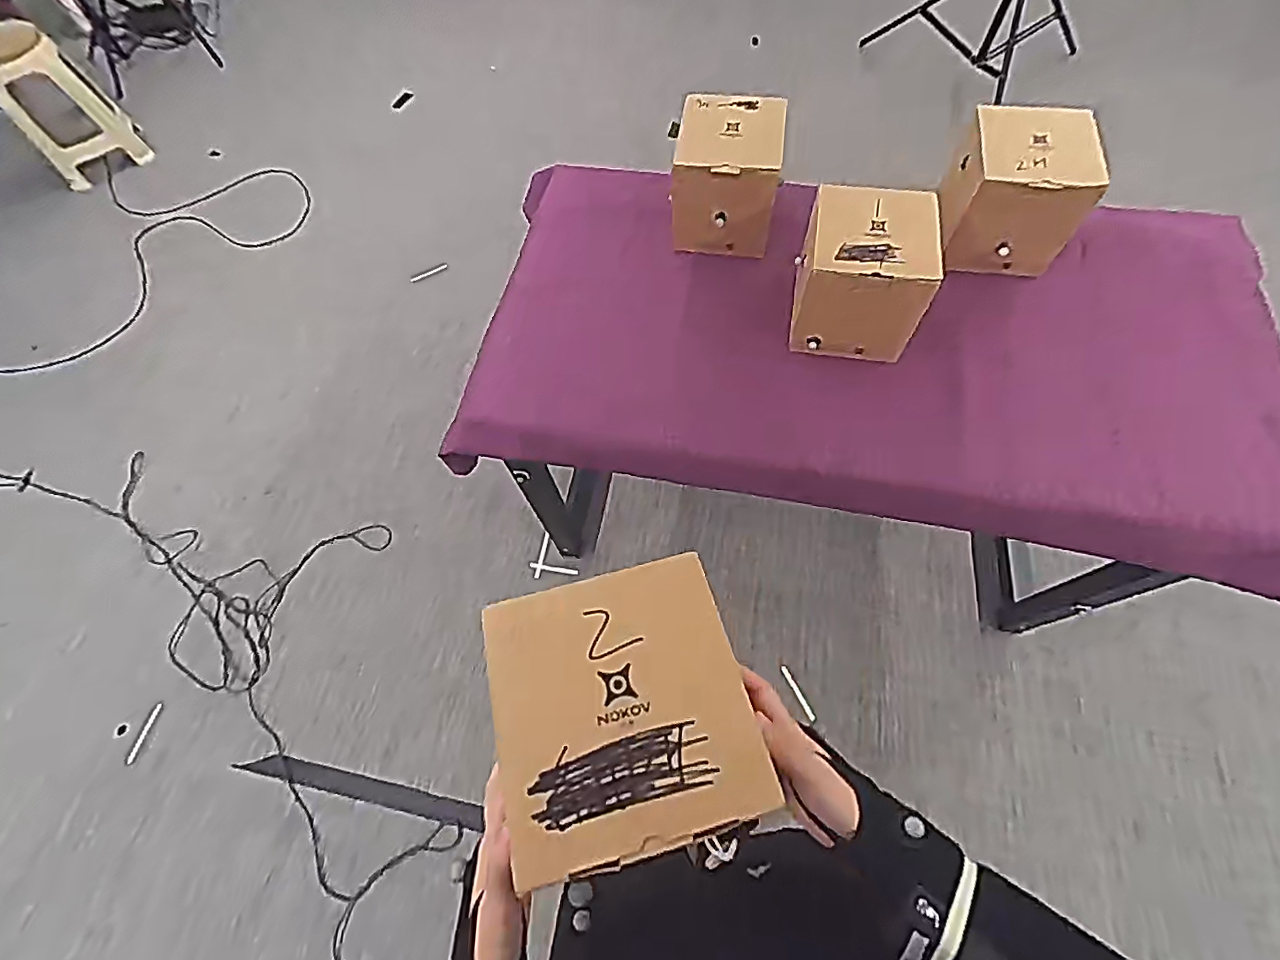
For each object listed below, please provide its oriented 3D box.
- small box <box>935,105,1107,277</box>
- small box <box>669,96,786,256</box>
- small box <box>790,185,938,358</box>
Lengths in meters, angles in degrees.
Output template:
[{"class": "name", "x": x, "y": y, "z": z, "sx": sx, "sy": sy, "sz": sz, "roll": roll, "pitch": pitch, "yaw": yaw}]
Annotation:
[{"class": "small box", "x": 0.588, "y": -0.458, "z": 0.865, "sx": 0.168, "sy": 0.176, "sz": 0.179, "roll": 8, "pitch": 66, "yaw": 8}, {"class": "small box", "x": 0.146, "y": -0.510, "z": 0.919, "sx": 0.168, "sy": 0.176, "sz": 0.179, "roll": 8, "pitch": 68, "yaw": 7}, {"class": "small box", "x": 0.327, "y": -0.306, "z": 0.812, "sx": 0.168, "sy": 0.176, "sz": 0.179, "roll": 9, "pitch": 65, "yaw": 8}]
